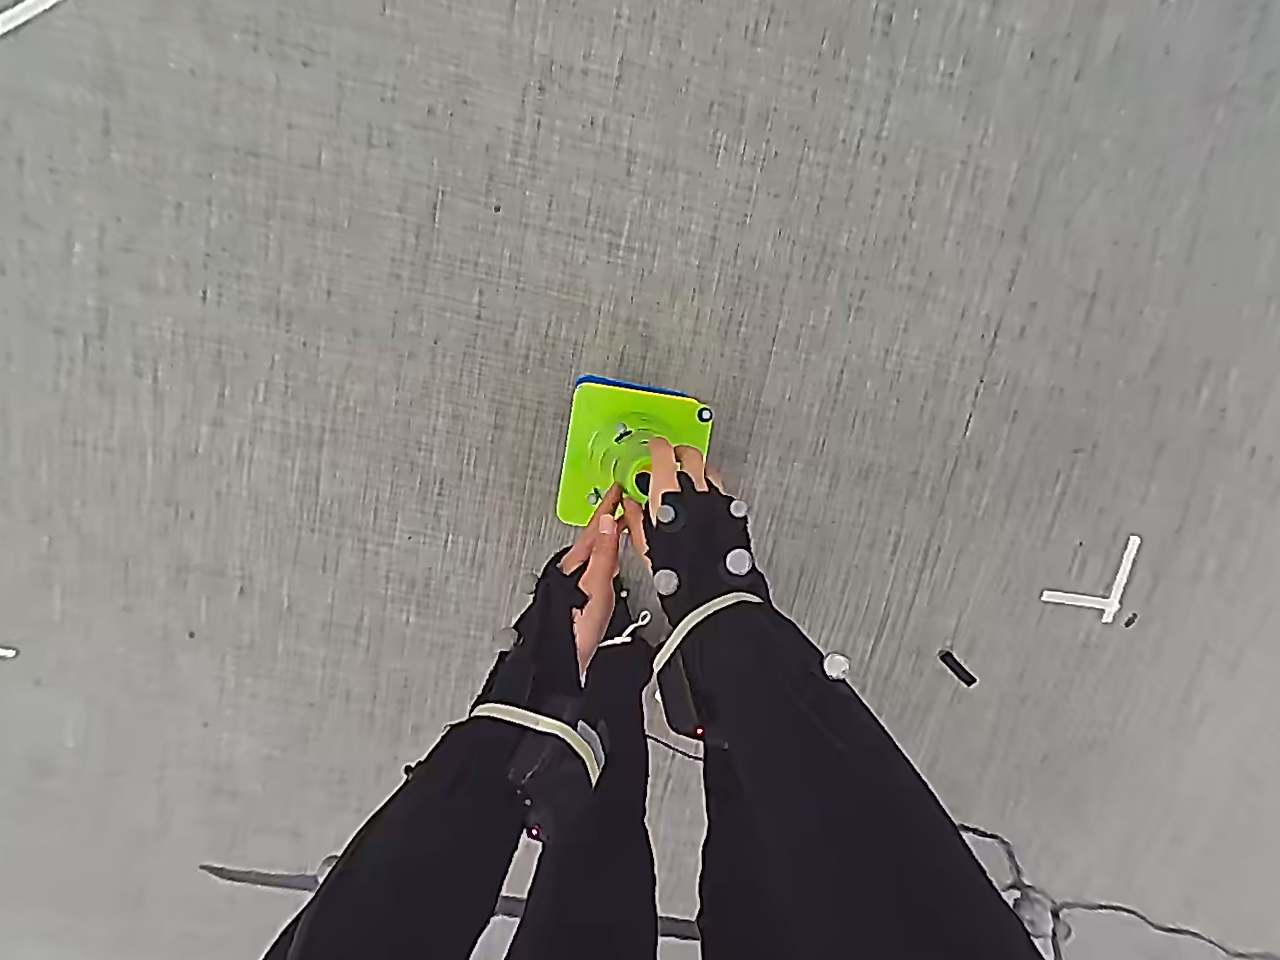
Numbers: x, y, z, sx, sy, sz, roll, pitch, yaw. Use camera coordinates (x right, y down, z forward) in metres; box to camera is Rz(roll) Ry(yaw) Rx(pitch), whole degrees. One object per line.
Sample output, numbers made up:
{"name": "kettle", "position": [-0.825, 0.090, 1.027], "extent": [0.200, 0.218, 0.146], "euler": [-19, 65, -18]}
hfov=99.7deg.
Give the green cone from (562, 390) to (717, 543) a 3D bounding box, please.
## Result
{"name": "green cone", "position": [0.004, -0.006, 0.592], "extent": [0.200, 0.368, 0.202], "euler": [8, 94, -2]}
